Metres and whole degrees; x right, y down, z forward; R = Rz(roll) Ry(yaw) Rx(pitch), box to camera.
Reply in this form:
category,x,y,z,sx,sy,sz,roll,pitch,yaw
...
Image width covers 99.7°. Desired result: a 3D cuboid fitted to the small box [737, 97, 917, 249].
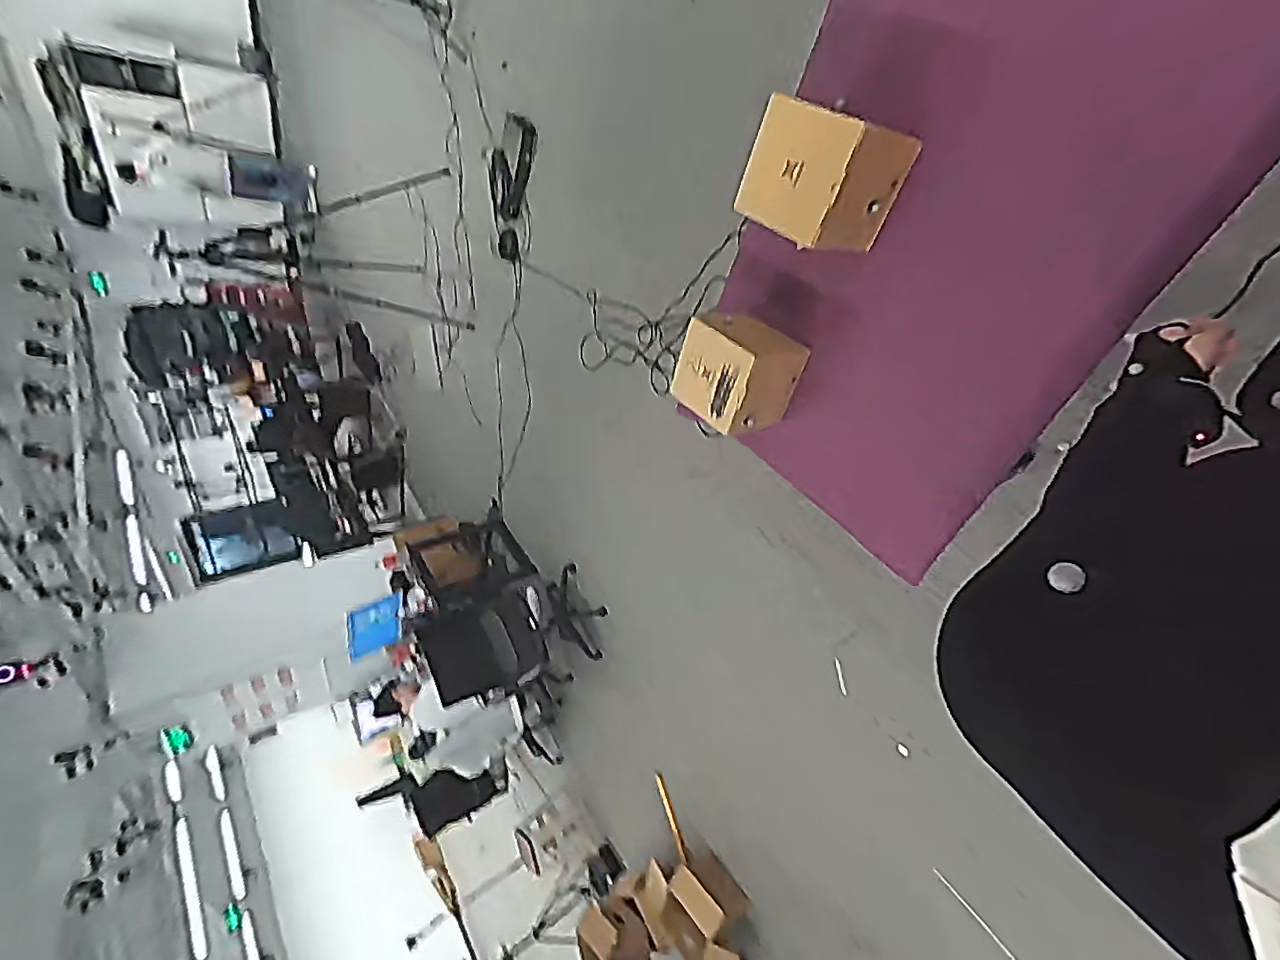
category,x,y,z,sx,sy,sz,roll,pitch,yaw
small box,0.294,-0.479,0.862,0.179,0.176,0.168,45,135,32
